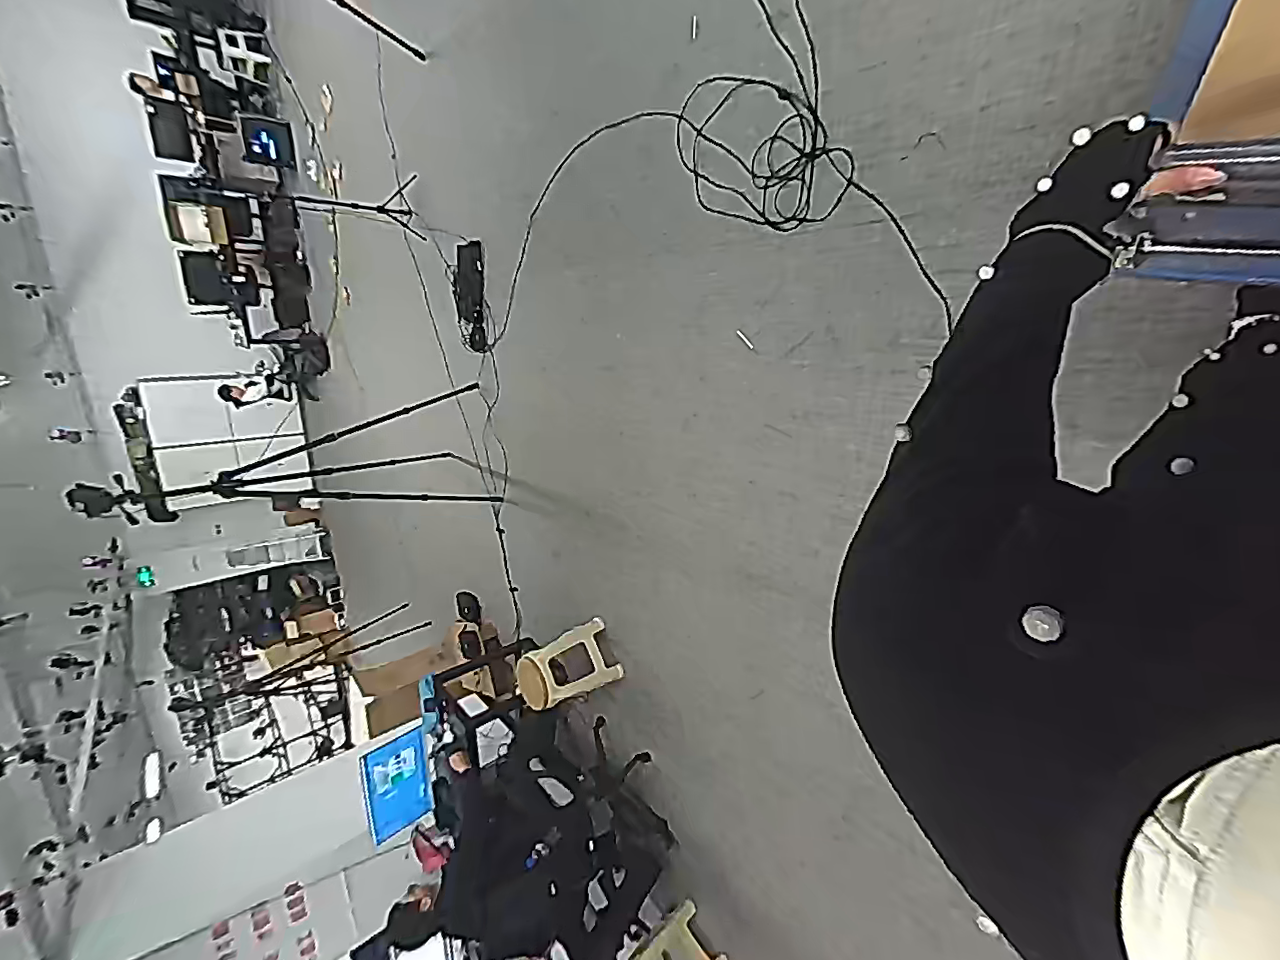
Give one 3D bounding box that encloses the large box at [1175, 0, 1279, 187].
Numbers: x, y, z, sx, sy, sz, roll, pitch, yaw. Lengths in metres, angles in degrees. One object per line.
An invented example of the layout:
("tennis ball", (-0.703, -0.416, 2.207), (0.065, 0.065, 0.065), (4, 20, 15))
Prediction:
("large box", (1.009, -0.632, 0.704), (0.320, 0.320, 0.408), (30, 121, 41))
